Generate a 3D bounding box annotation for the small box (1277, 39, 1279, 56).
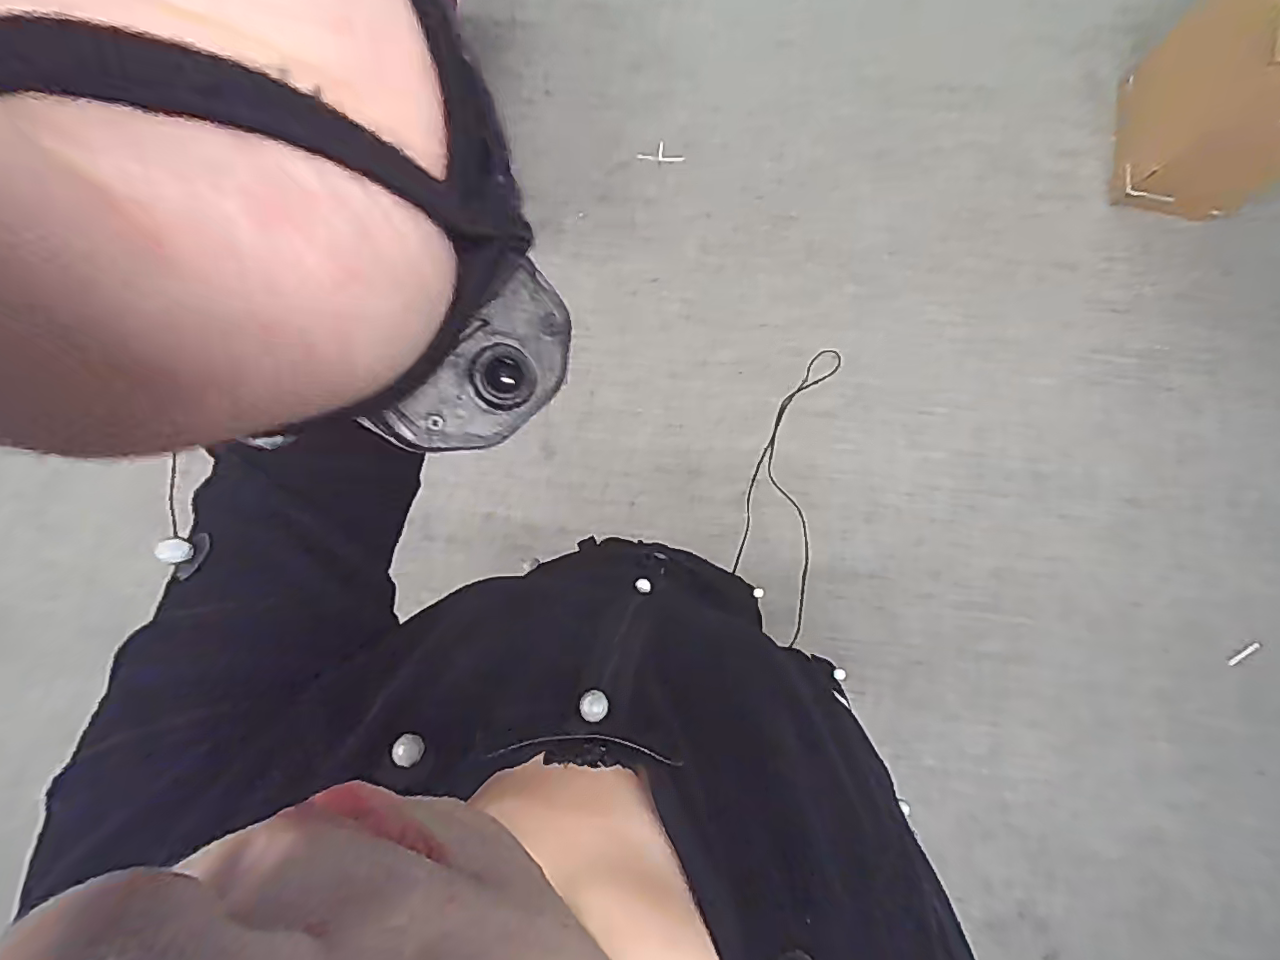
[{"bbox_3d":[1.456,-0.959,1.074,0.179,0.176,0.168,13,83,2],"label":"small box"}]
